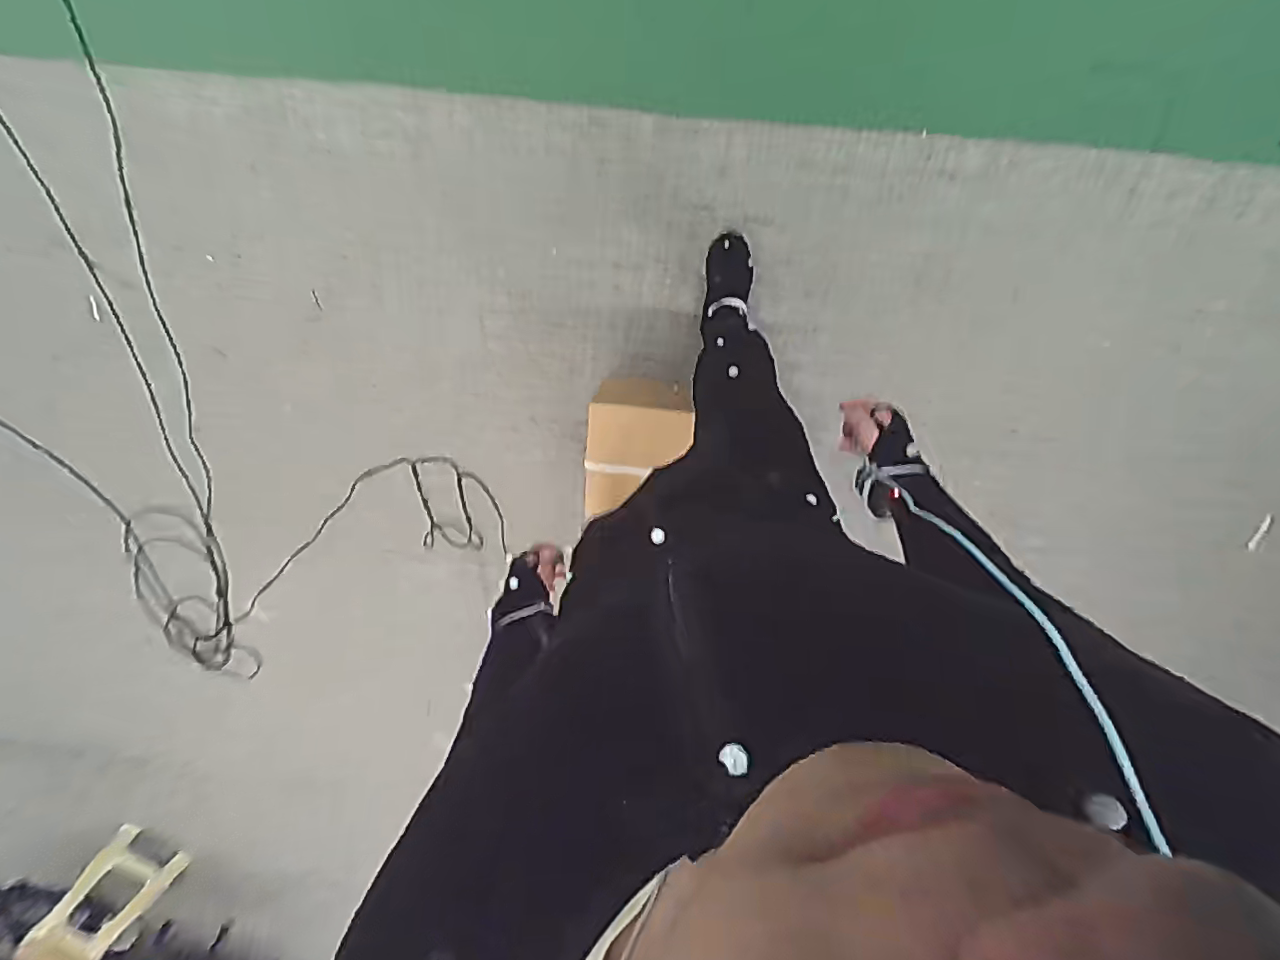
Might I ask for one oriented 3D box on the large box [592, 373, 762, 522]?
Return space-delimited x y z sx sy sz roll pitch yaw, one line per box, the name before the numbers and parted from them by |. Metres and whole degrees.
large box | 0.090 -0.103 1.457 0.408 0.320 0.320 5 113 3
